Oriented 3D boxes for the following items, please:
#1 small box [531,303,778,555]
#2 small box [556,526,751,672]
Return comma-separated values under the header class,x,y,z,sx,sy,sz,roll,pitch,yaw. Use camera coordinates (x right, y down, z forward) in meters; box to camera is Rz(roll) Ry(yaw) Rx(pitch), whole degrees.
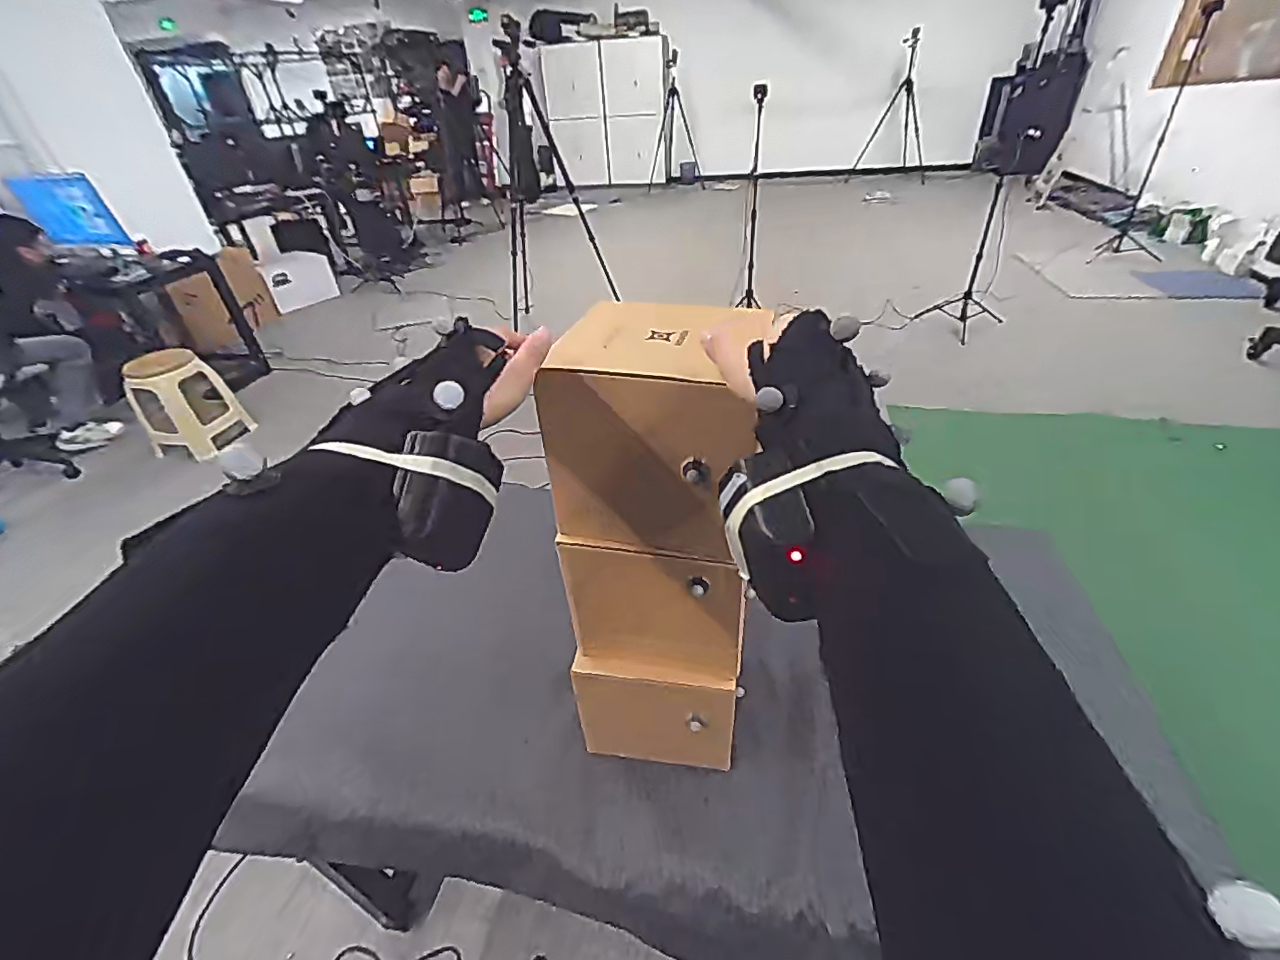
class,x,y,z,sx,sy,sz,roll,pitch,yaw
small box,0.025,-0.051,0.494,0.179,0.176,0.168,6,35,14
small box,0.027,0.084,0.586,0.179,0.176,0.168,5,36,11
